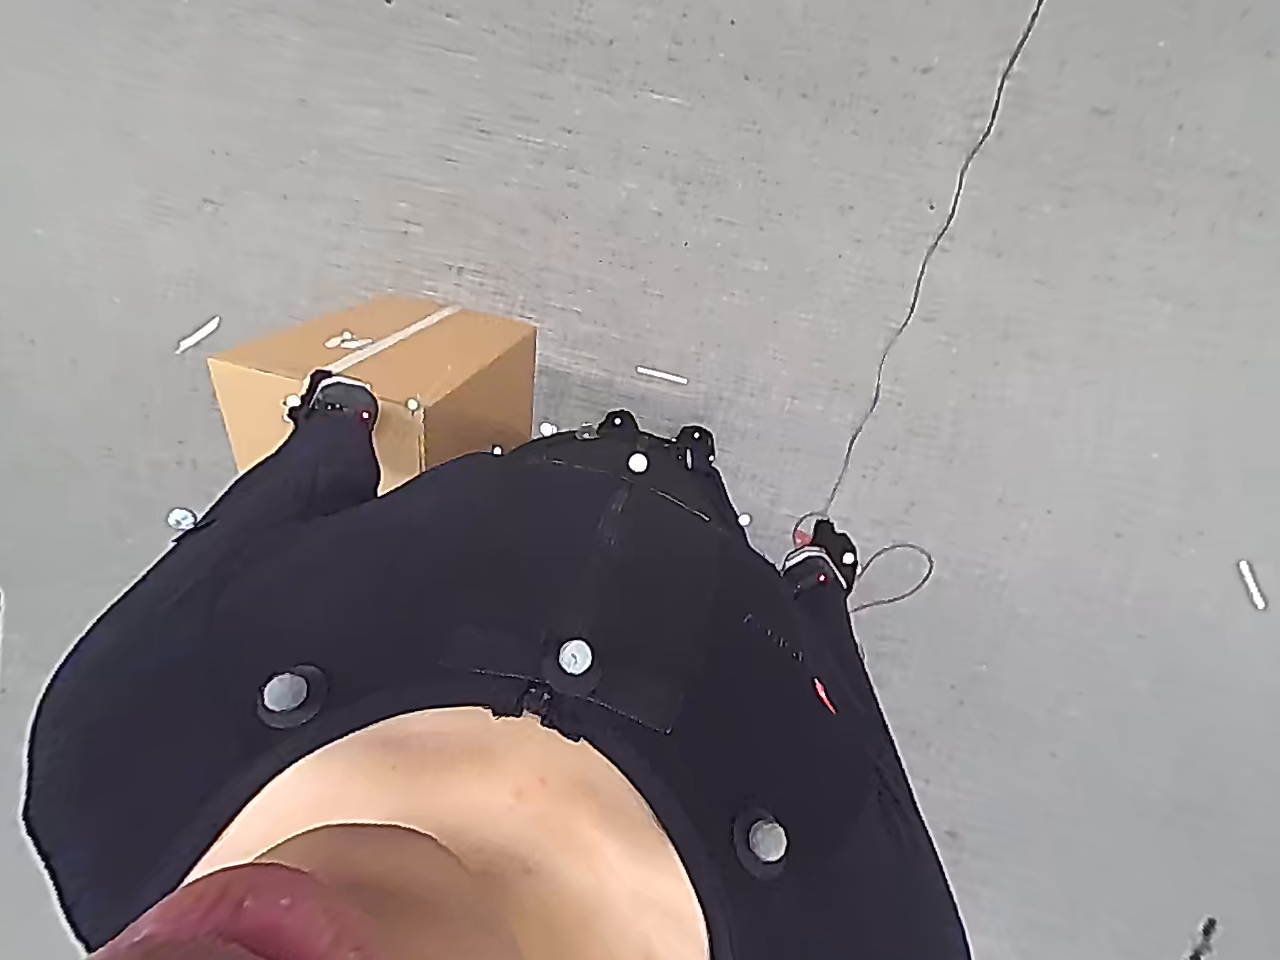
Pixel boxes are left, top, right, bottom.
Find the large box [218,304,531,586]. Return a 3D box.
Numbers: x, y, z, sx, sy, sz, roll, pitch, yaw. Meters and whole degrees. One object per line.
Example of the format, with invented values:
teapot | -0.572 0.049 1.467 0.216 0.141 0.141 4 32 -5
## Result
large box | -0.414 -0.085 0.963 0.320 0.408 0.320 13 123 6
